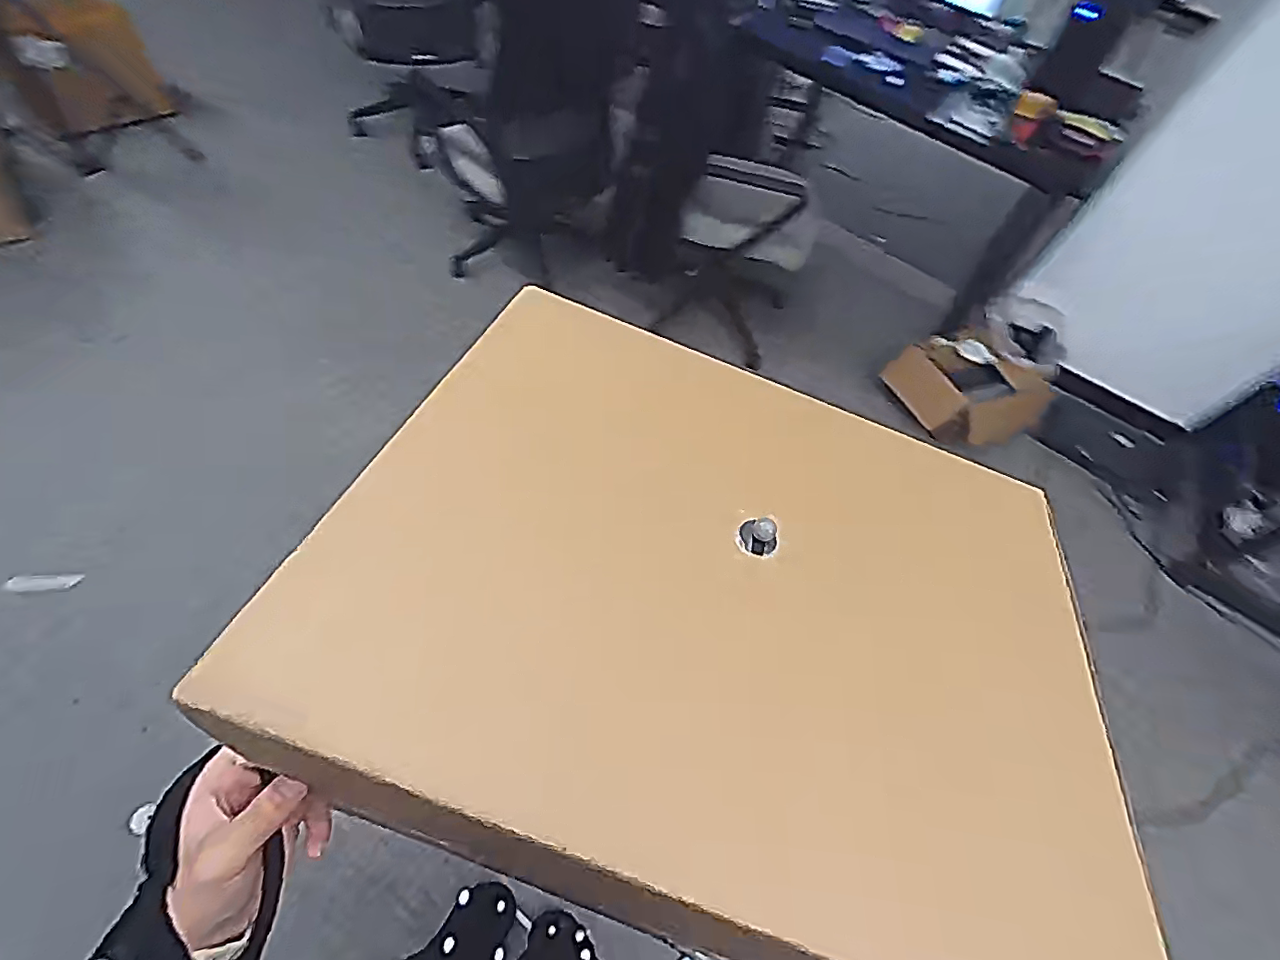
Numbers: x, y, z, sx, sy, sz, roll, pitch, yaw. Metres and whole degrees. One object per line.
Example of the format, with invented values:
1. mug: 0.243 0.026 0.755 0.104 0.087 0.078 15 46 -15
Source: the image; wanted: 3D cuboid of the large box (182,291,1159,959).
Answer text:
1. large box: 0.019 0.119 0.409 0.408 0.320 0.320 20 51 0
